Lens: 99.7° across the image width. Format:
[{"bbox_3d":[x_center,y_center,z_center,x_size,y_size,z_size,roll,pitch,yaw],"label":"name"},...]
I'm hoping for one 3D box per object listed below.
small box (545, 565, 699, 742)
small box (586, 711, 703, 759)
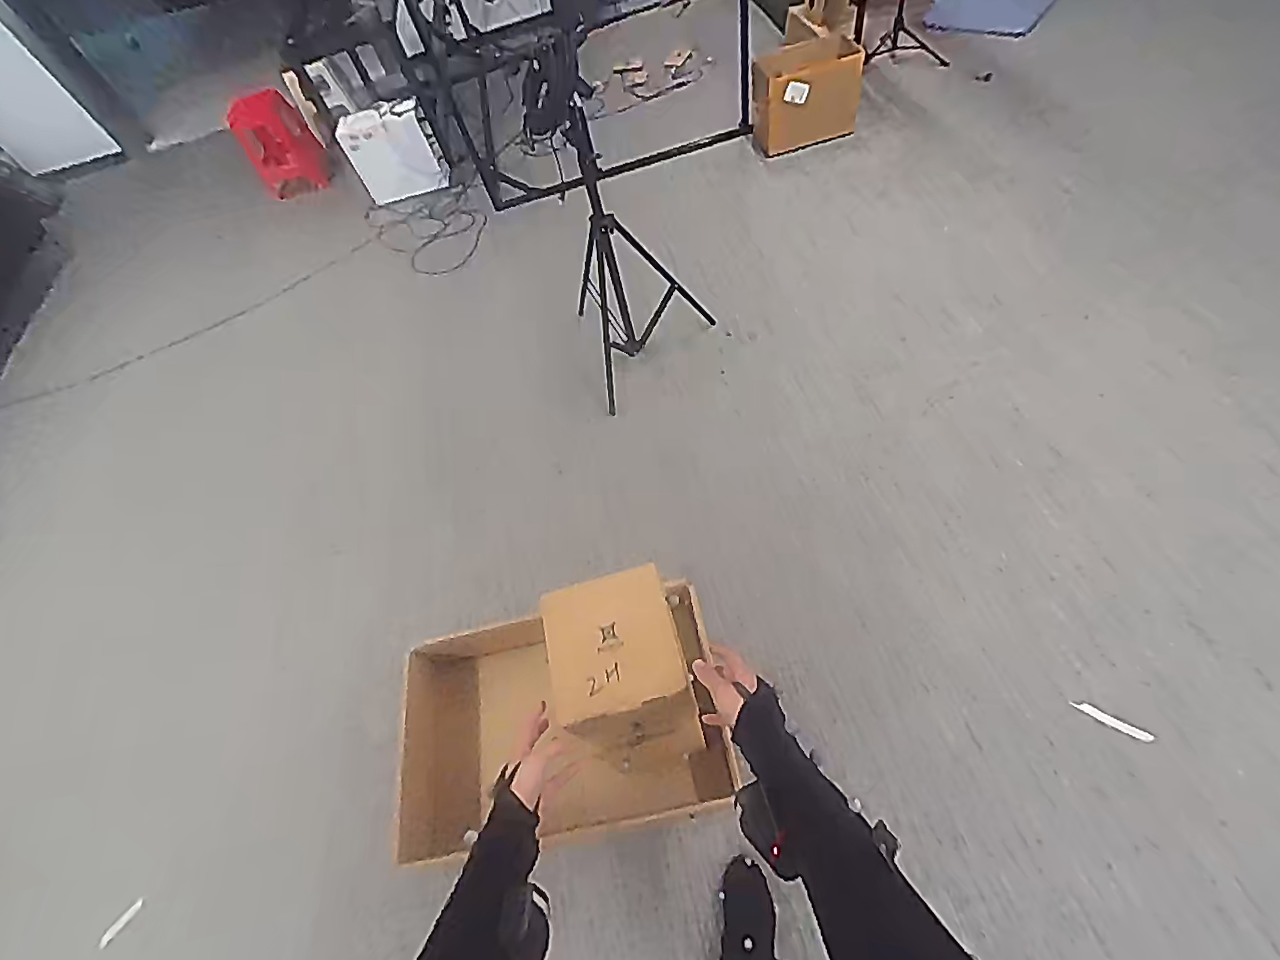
[{"bbox_3d":[-0.021,0.247,0.756,0.168,0.176,0.179,-17,58,1],"label":"small box"},{"bbox_3d":[0.001,0.345,0.887,0.168,0.176,0.179,-16,57,1],"label":"small box"}]
